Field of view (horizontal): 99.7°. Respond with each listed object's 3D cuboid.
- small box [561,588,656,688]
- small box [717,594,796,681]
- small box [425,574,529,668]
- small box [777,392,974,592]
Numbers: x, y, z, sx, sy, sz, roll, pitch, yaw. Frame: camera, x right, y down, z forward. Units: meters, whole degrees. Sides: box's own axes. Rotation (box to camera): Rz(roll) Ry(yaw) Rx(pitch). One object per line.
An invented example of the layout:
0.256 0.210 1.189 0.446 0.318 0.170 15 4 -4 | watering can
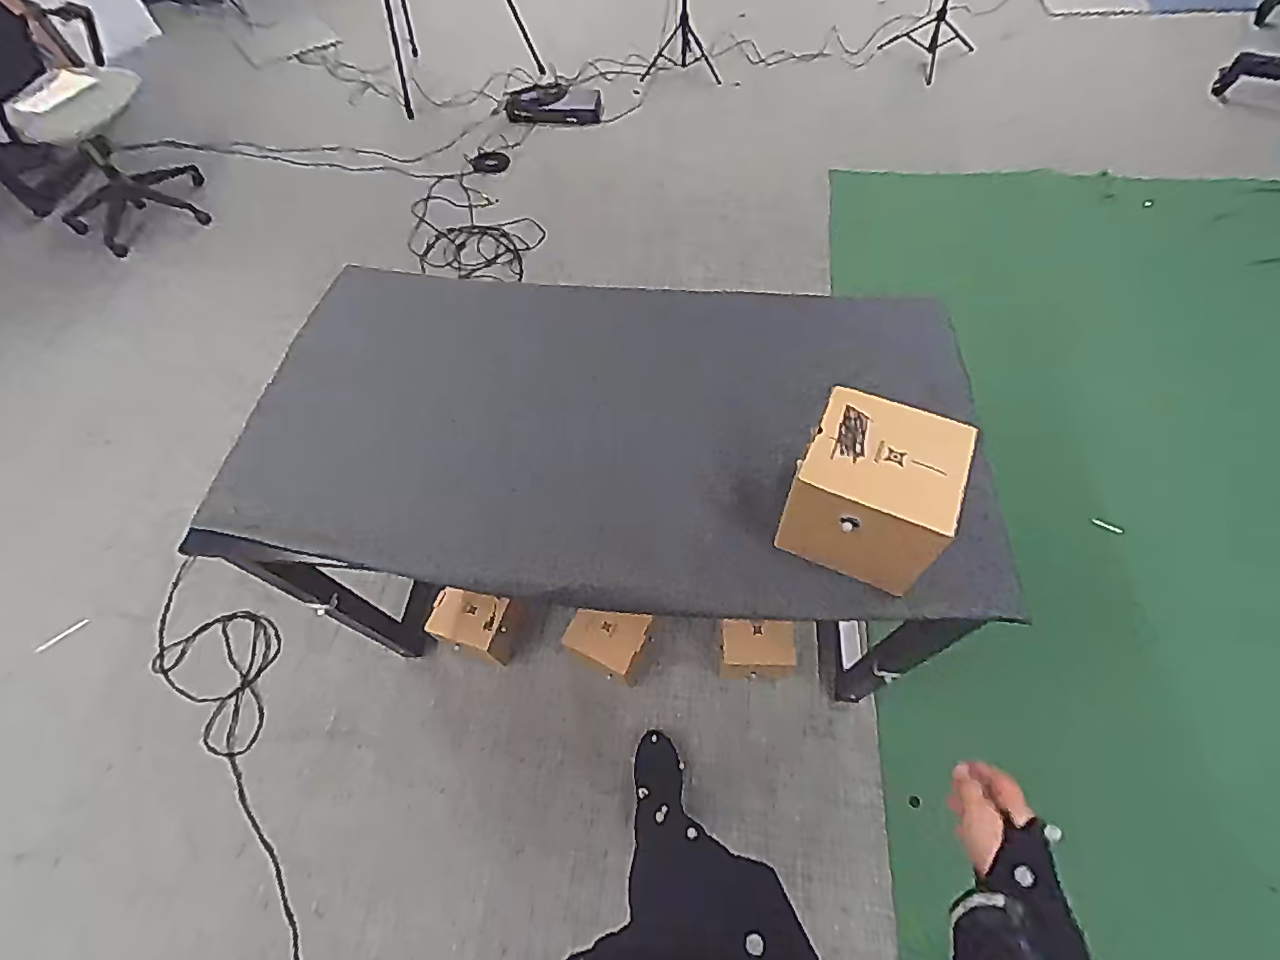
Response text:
-0.070 0.402 1.352 0.179 0.176 0.168 21 62 17 | small box
0.279 0.392 1.331 0.168 0.176 0.179 -1 59 3 | small box
-0.412 0.369 1.397 0.179 0.176 0.168 14 61 13 | small box
0.291 0.020 0.699 0.179 0.176 0.168 21 60 18 | small box
